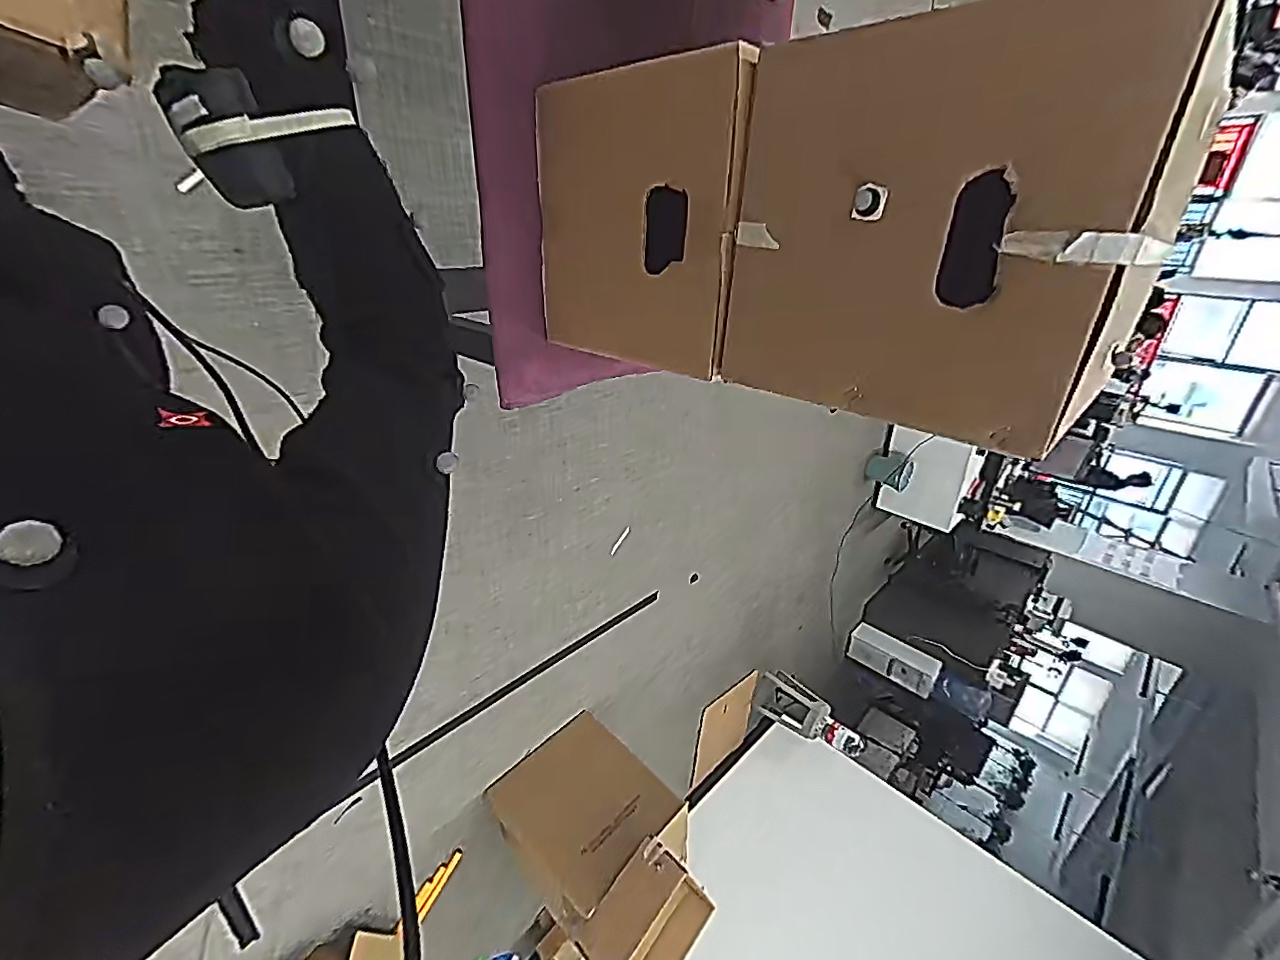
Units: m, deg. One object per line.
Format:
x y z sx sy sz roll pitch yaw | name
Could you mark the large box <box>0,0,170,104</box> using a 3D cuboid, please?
-0.410 -0.425 0.187 0.320 0.320 0.408 -8 116 -49 | large box
